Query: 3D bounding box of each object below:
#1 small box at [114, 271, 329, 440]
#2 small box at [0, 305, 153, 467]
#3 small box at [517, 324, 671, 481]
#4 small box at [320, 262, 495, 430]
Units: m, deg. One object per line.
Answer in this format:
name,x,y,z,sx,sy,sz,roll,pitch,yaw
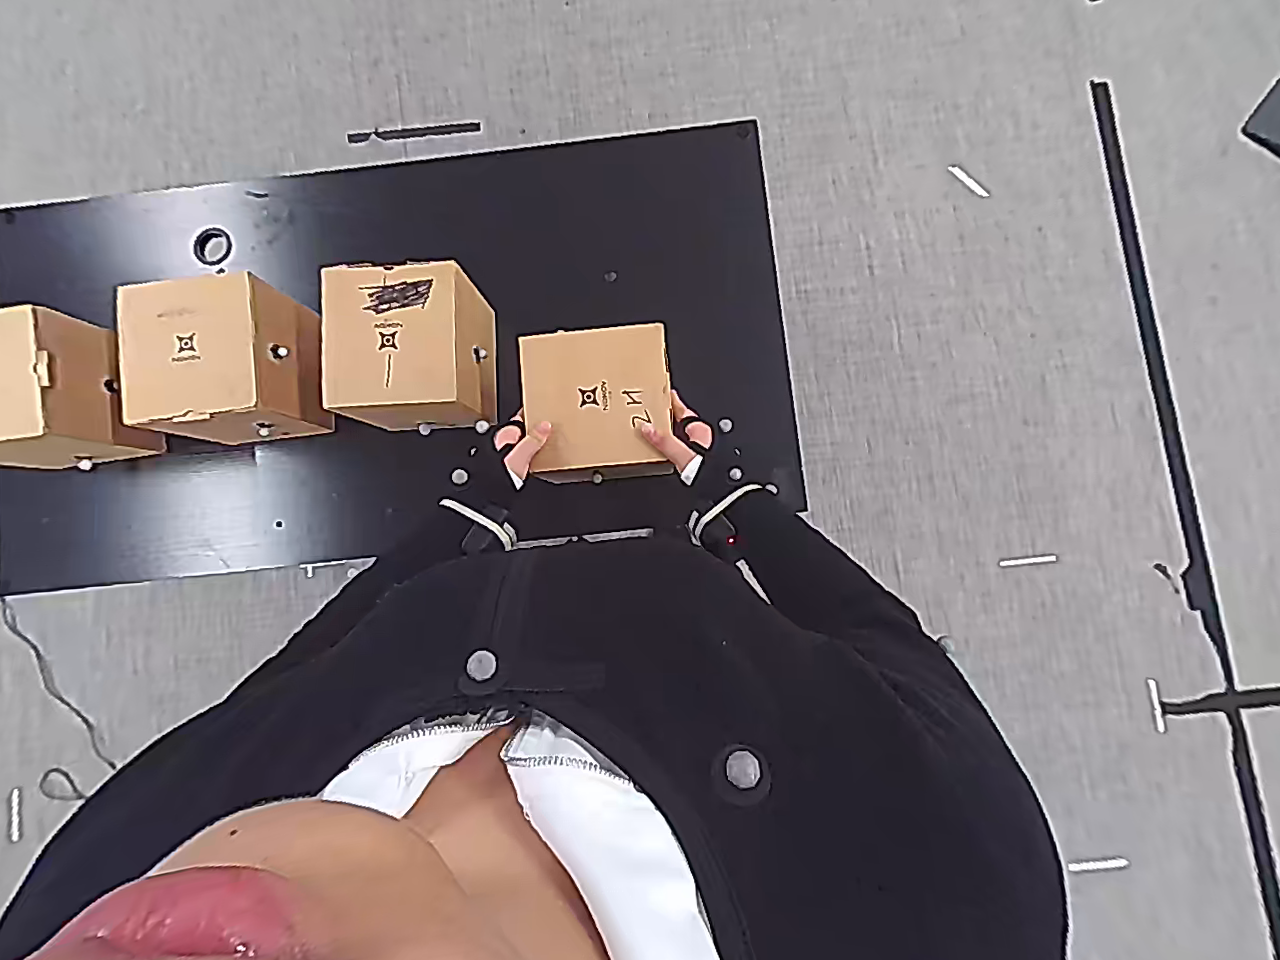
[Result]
small box,-0.548,-0.154,0.731,0.168,0.176,0.179,-7,84,-1
small box,-0.808,-0.116,0.730,0.179,0.176,0.168,-9,85,-1
small box,-0.052,-0.091,0.716,0.179,0.176,0.168,-5,86,1
small box,-0.299,-0.169,0.727,0.168,0.176,0.179,-2,86,1
